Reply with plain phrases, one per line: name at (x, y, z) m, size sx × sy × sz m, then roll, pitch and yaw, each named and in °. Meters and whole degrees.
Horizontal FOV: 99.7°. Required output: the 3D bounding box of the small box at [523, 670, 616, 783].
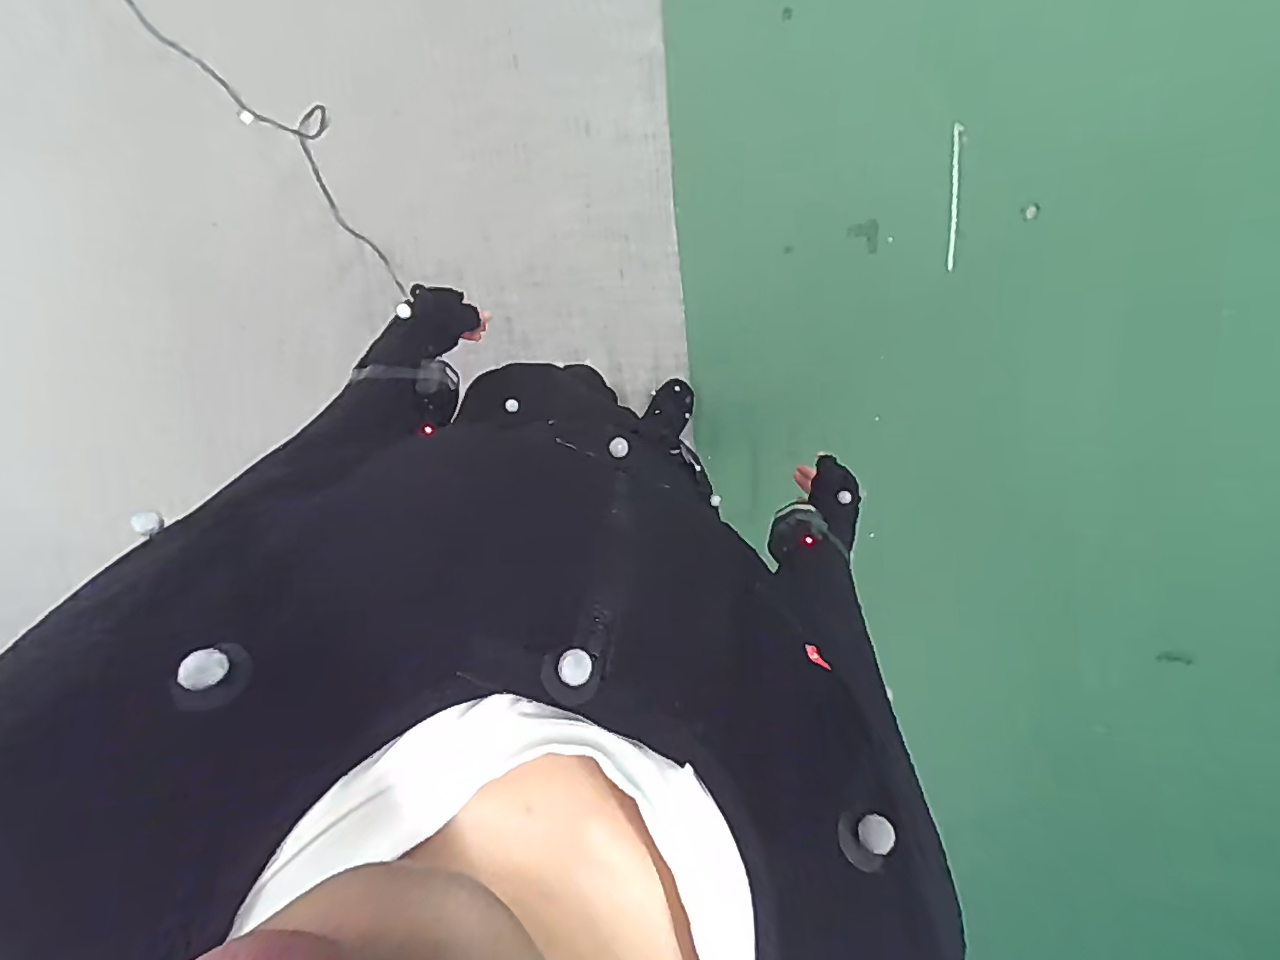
small box at (-0.163, 0.584, 1.308) m, size 0.168 × 0.176 × 0.179 m, roll -17°, pitch 104°, yaw 7°

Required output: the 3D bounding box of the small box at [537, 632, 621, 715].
small box at (-0.158, 0.534, 1.463) m, size 0.168 × 0.176 × 0.179 m, roll -21°, pitch 102°, yaw 6°
